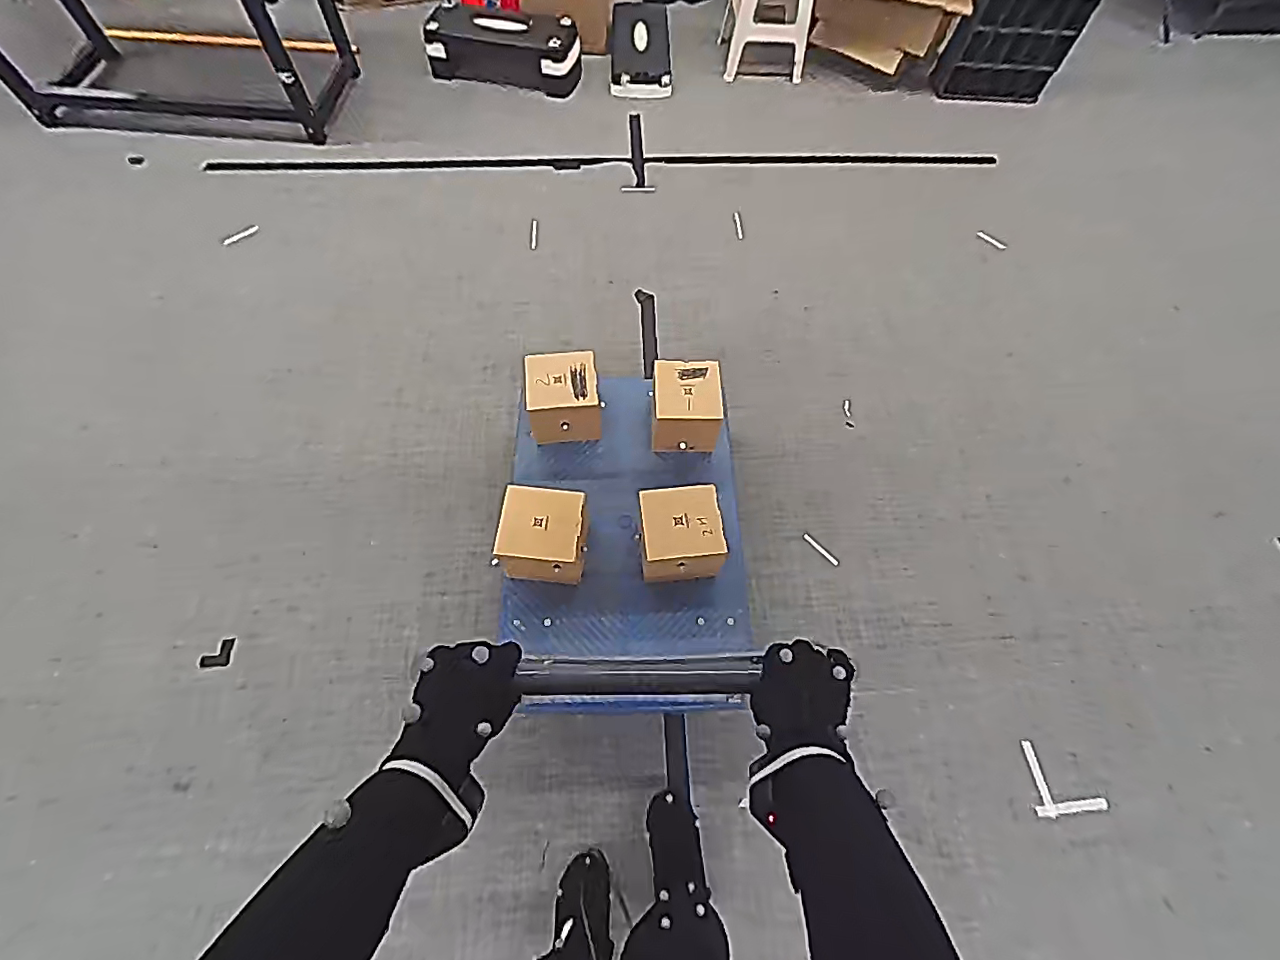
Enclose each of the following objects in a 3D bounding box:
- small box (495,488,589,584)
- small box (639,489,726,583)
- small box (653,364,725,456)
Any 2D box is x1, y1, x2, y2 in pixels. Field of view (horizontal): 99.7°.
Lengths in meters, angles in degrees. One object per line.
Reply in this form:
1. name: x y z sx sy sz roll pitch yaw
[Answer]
1. small box: -0.216 0.134 1.241 0.179 0.176 0.168 6 63 -1
2. small box: 0.090 0.135 1.253 0.179 0.176 0.168 -4 64 -4
3. small box: 0.121 -0.179 1.410 0.168 0.176 0.179 1 65 -2
